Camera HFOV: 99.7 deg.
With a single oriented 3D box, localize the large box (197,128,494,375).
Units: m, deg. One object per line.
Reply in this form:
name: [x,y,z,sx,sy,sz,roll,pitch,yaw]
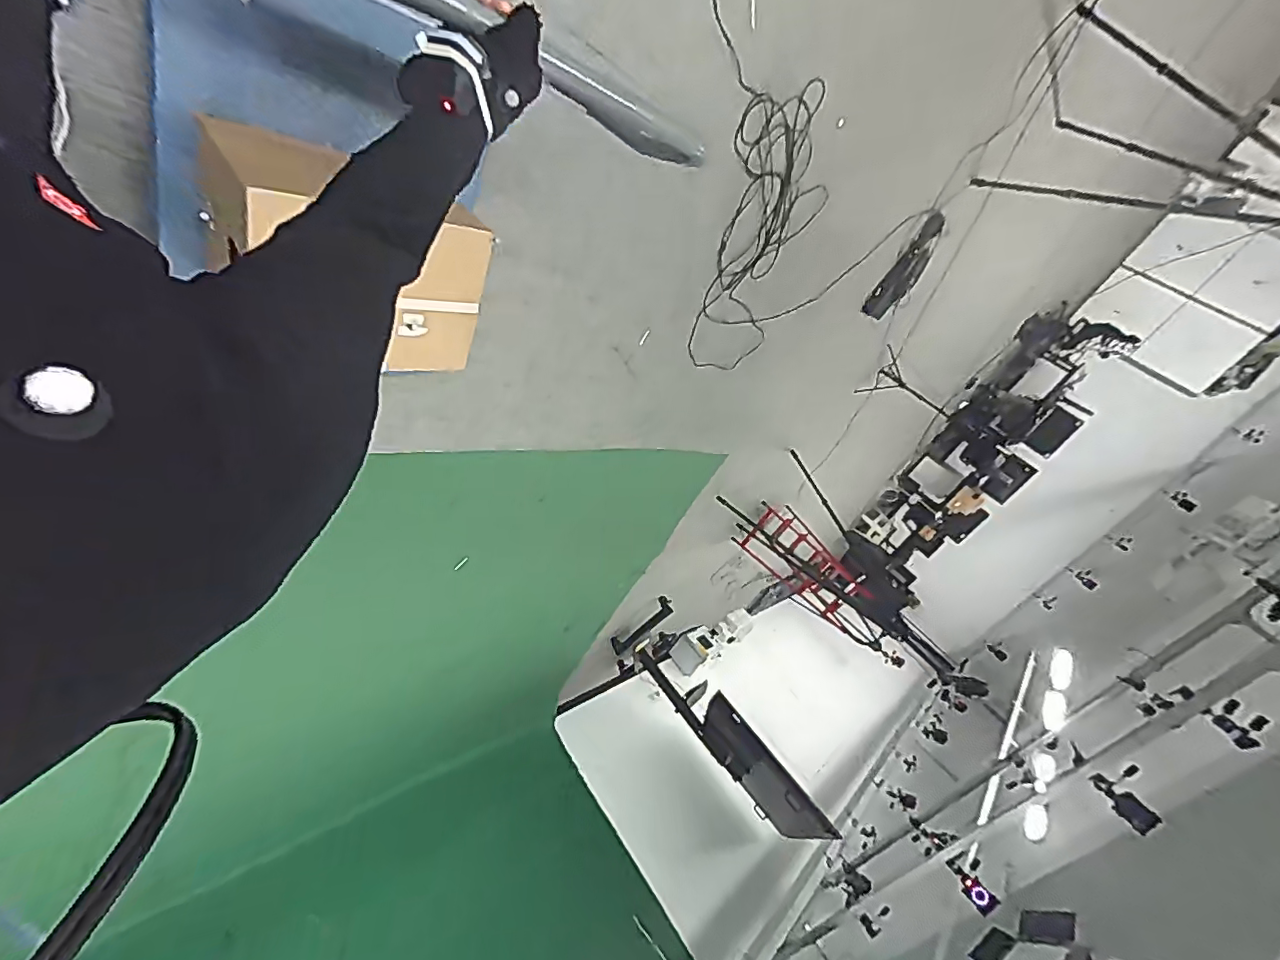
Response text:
large box: [-0.565,-0.429,1.058,0.408,0.320,0.320,-15,142,-44]
